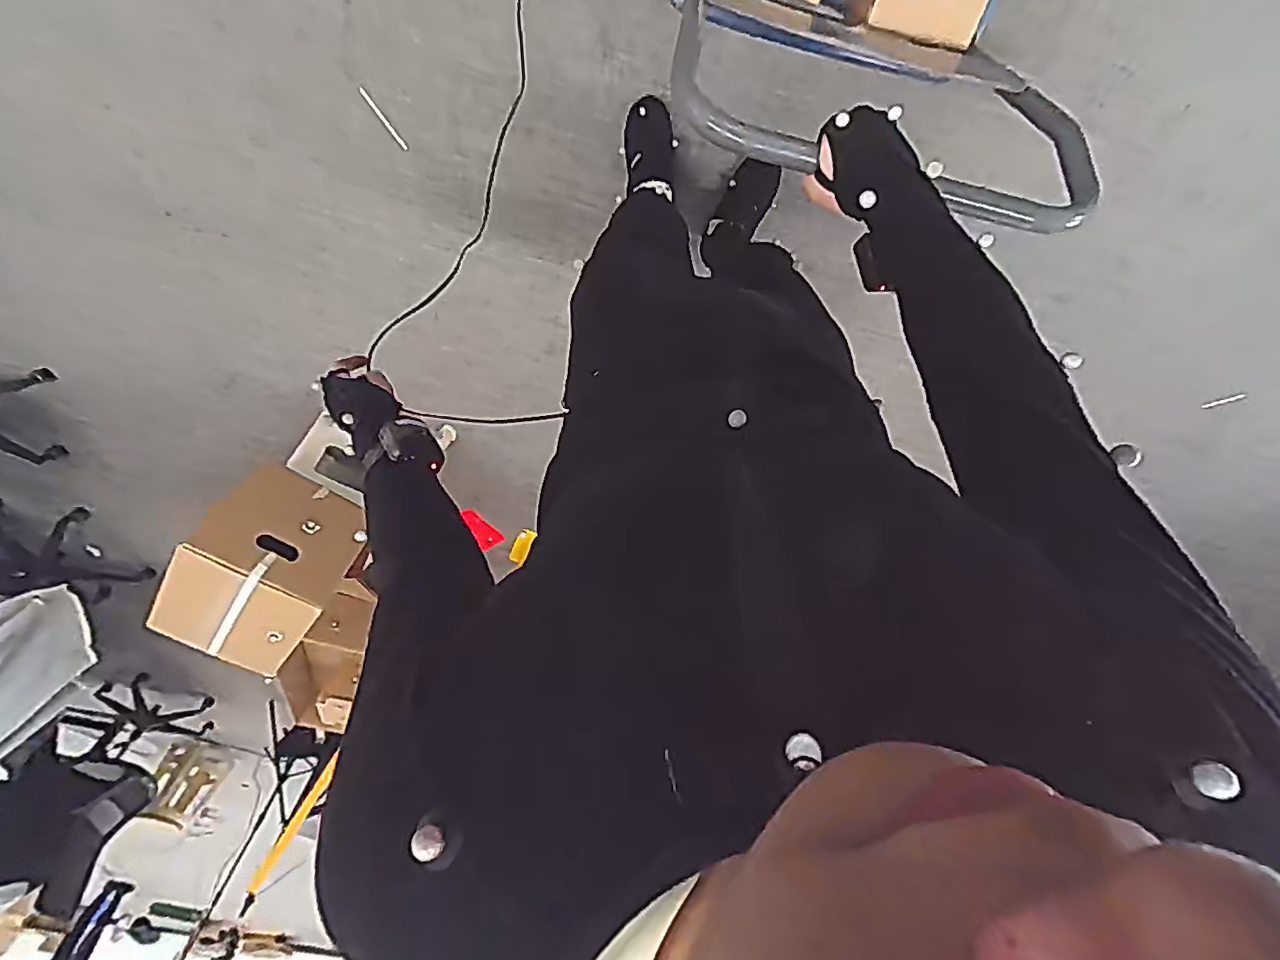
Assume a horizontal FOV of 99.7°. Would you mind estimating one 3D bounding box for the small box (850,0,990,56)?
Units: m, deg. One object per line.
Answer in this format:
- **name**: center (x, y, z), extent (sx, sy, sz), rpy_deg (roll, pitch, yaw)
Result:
- **small box**: center (0.465, -0.820, 0.879), extent (0.179, 0.176, 0.168), rpy_deg (9, 136, -2)
